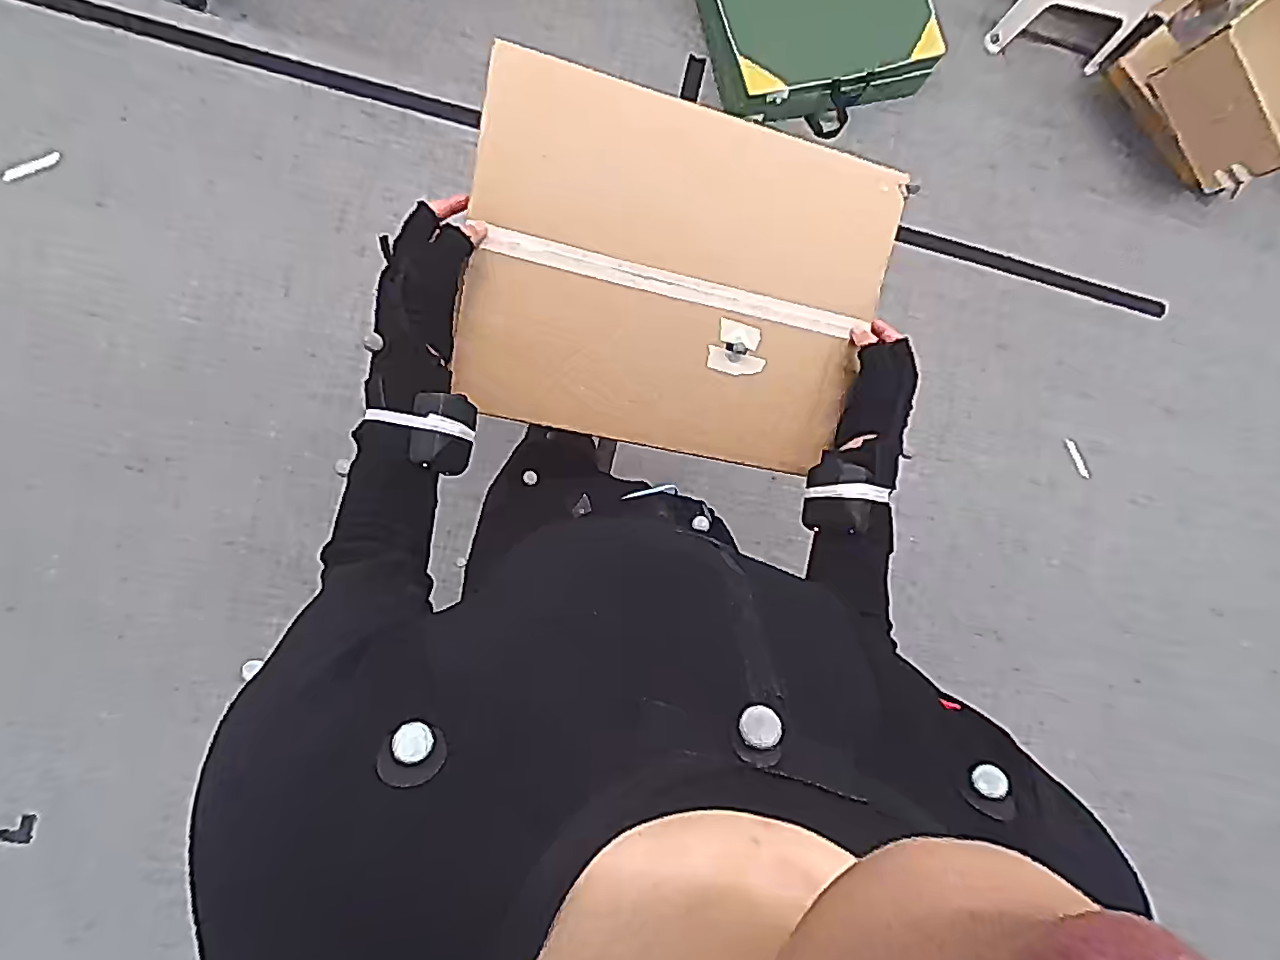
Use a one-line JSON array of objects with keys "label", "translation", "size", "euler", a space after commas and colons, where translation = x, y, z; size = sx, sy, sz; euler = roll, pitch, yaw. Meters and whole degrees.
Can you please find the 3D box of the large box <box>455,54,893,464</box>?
[{"label": "large box", "translation": [0.013, -0.225, 0.681], "size": [0.408, 0.320, 0.320], "euler": [11, 100, -12]}]
